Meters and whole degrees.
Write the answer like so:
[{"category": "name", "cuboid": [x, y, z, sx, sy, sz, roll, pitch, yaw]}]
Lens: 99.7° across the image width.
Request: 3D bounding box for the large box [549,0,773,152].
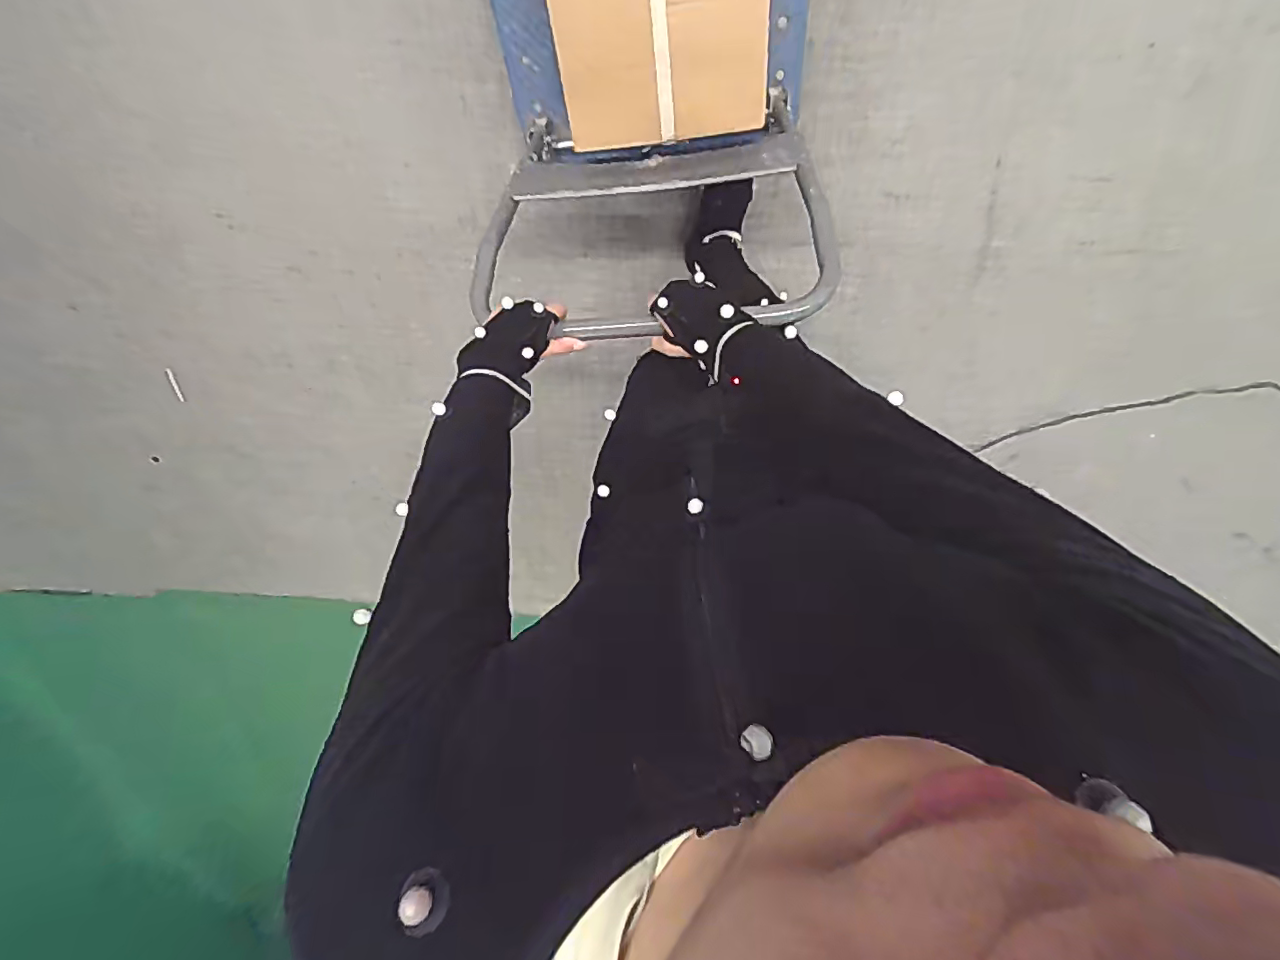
[{"category": "large box", "cuboid": [0.034, -0.793, 0.838, 0.320, 0.320, 0.408, -3, 135, 7]}]
